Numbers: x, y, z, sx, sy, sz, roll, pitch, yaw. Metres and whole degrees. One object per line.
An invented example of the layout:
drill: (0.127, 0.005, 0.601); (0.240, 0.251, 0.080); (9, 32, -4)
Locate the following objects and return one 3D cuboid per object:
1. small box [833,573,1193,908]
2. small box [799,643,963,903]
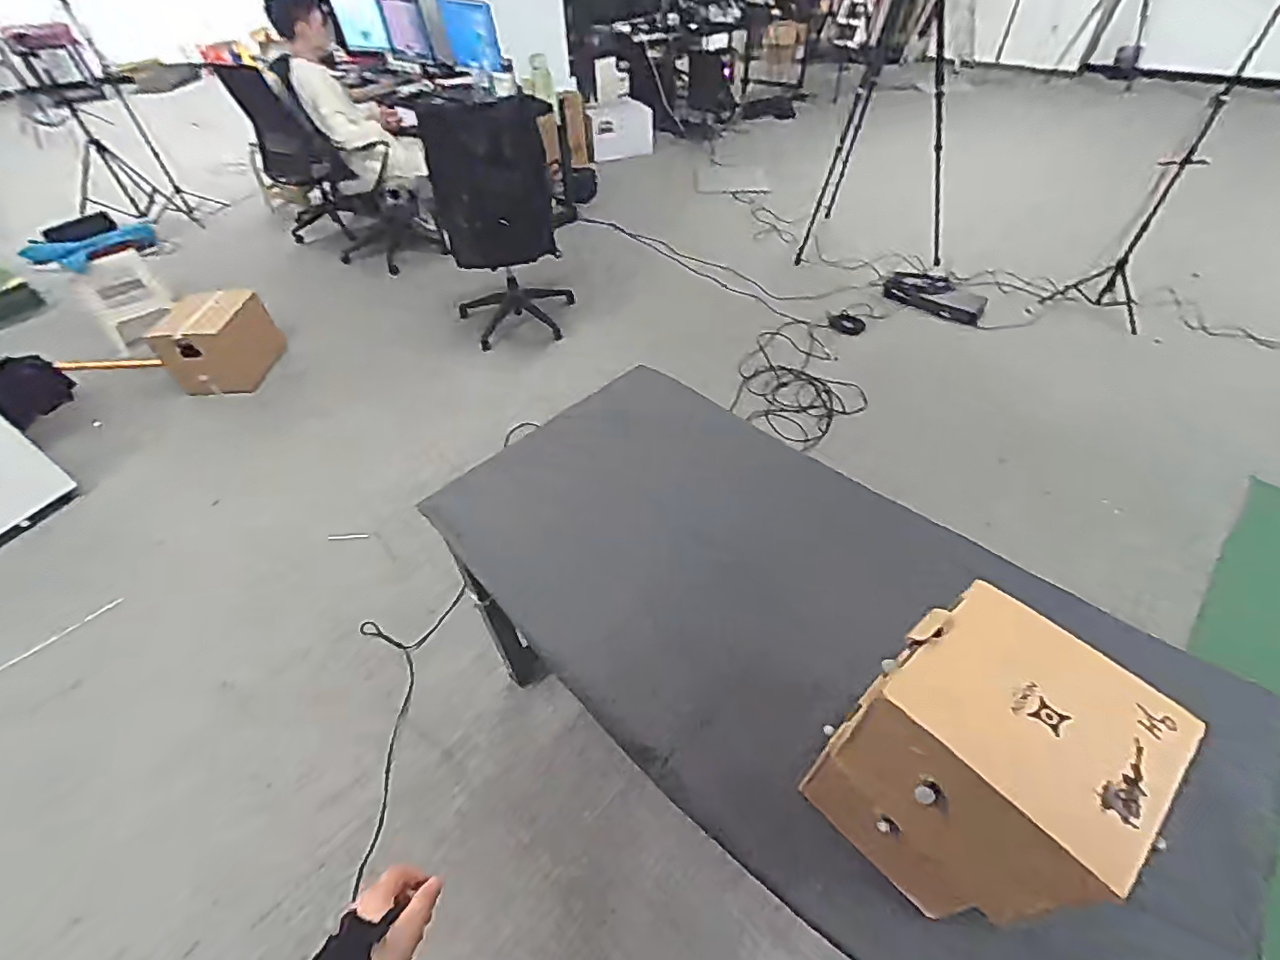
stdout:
small box: (0.297, 0.224, 0.471); (0.168, 0.176, 0.179); (-31, 52, -26)
small box: (0.304, 0.324, 0.603); (0.168, 0.176, 0.179); (-34, 55, -27)
